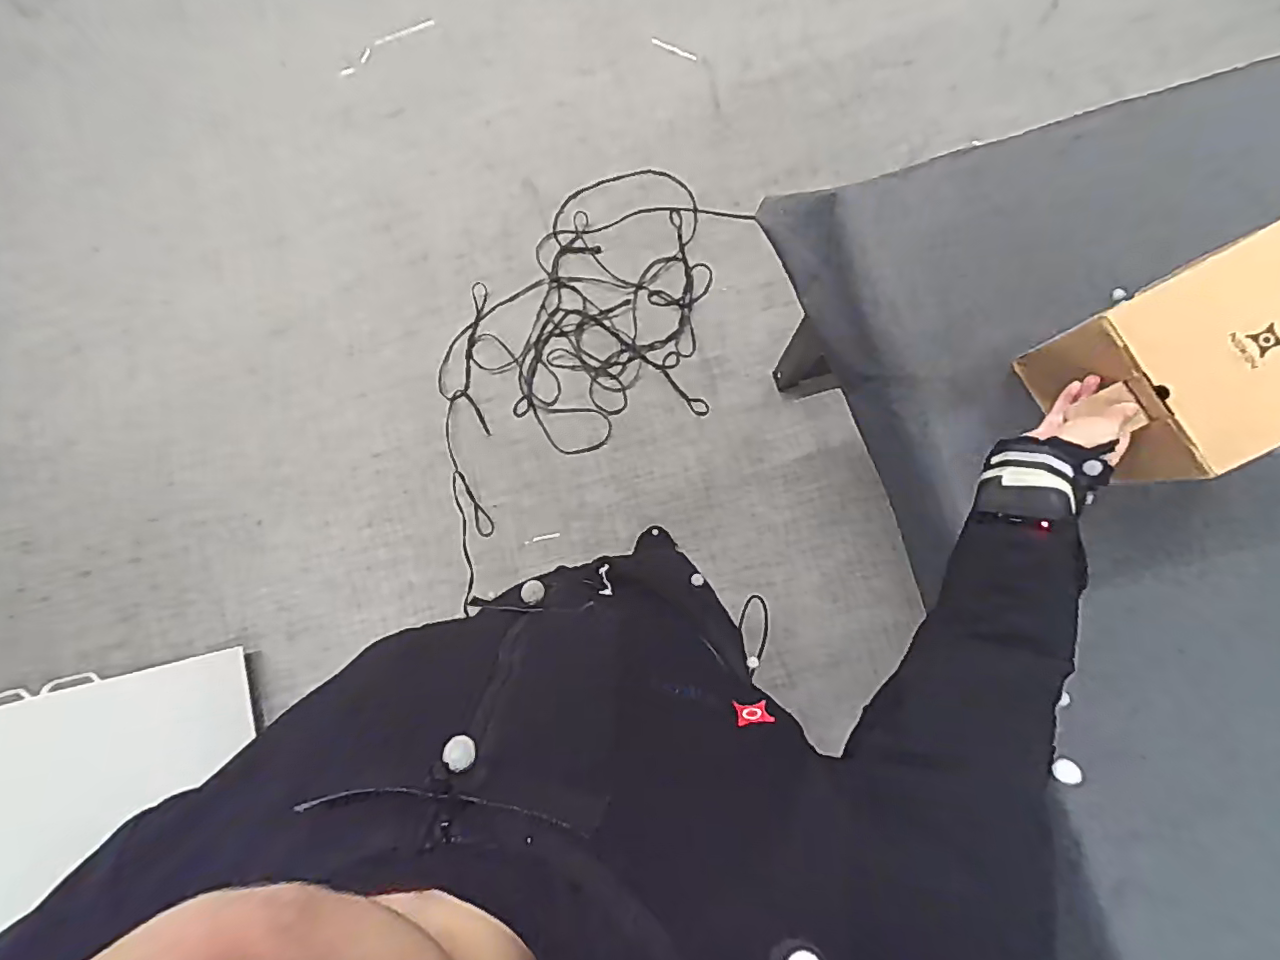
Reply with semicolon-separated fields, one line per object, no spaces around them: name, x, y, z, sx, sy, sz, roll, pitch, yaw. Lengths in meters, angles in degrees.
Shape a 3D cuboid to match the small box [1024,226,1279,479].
small box;0.537;-0.112;0.531;0.179;0.176;0.168;-30;83;9
